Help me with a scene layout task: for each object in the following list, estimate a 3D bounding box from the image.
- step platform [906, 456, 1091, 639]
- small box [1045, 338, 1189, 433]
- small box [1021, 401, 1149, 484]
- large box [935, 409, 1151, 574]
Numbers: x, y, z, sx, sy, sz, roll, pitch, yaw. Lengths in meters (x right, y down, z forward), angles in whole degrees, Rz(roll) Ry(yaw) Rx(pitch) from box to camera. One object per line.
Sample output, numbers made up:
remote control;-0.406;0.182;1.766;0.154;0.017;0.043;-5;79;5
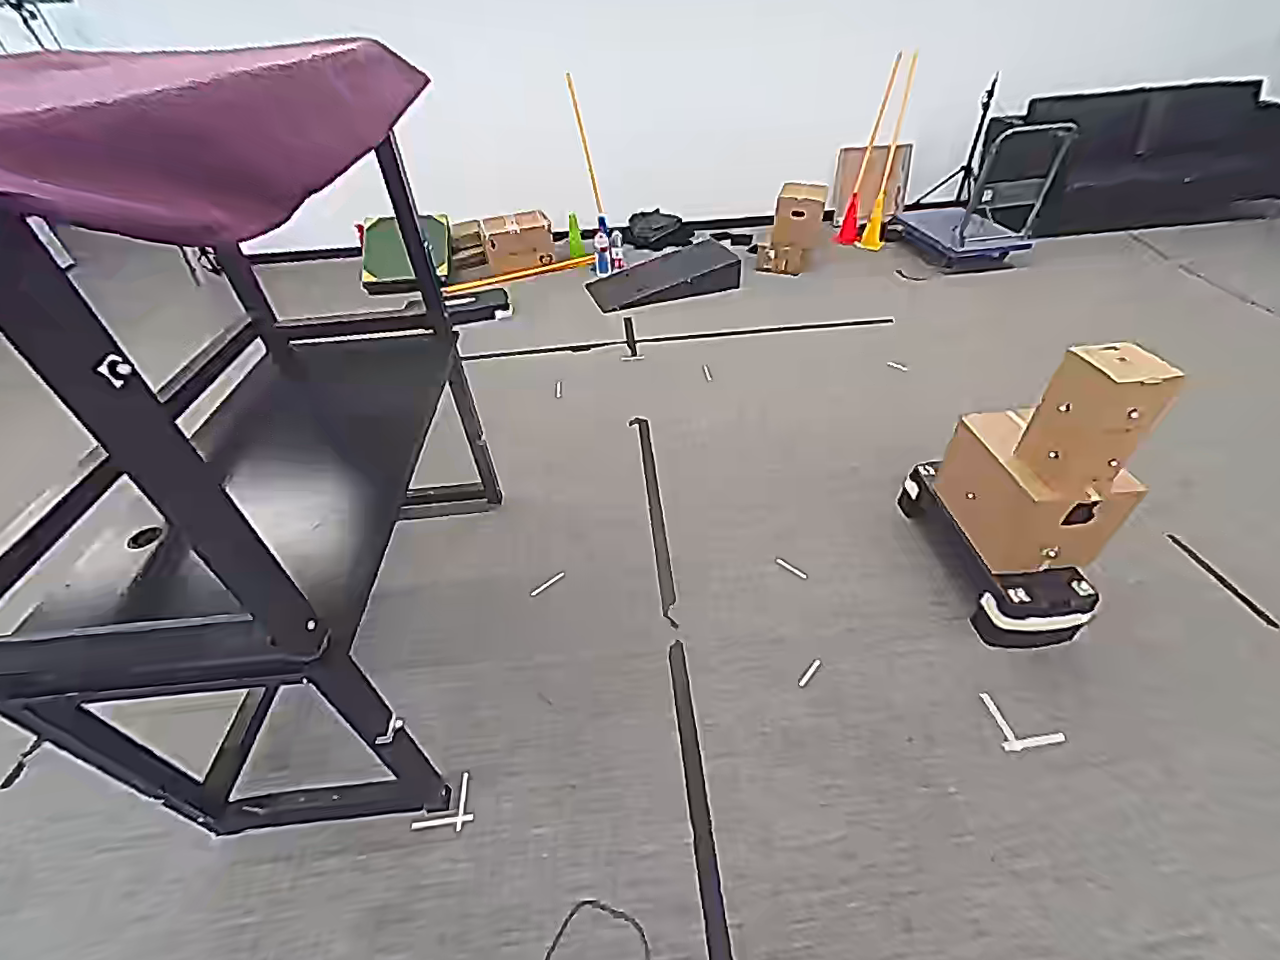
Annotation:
step platform;1.174;0.191;1.840;0.286;0.204;0.684;-2;40;3
small box;1.164;-0.228;1.337;0.168;0.176;0.179;-5;42;-2
small box;1.172;-0.102;1.442;0.168;0.176;0.179;-5;41;-1
large box;1.190;0.029;1.663;0.320;0.320;0.408;-5;40;-2
